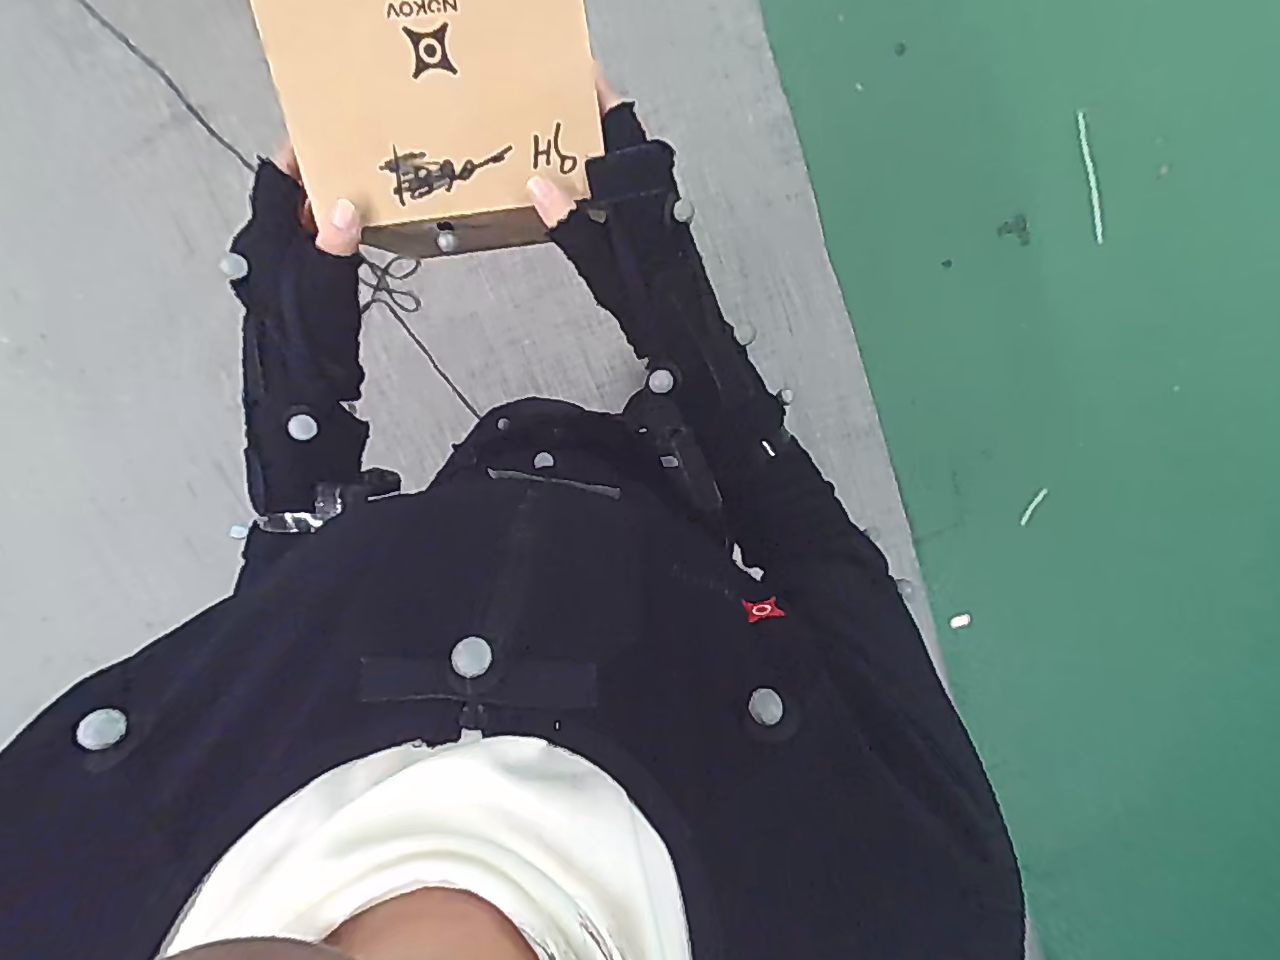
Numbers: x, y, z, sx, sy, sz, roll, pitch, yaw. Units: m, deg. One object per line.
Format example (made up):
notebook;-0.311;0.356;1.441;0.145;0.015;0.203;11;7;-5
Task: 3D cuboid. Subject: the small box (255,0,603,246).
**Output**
small box;-0.120;-0.268;0.355;0.168;0.176;0.179;-9;106;-3
